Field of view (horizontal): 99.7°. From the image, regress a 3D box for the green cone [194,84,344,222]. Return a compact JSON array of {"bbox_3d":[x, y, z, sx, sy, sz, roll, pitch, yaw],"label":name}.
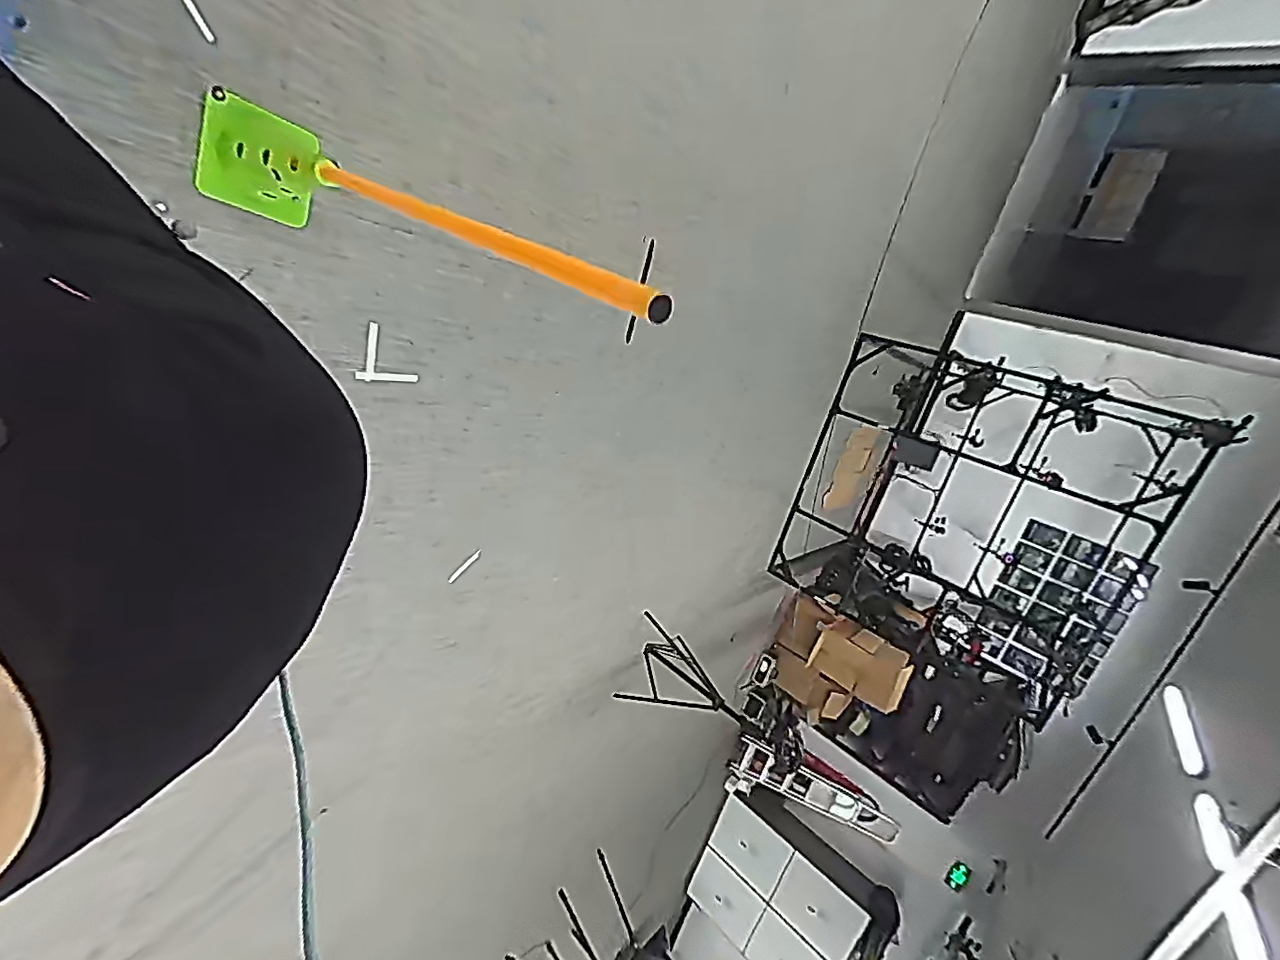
[{"bbox_3d":[-0.667,-0.599,1.027,0.202,0.368,0.200,0,113,-54],"label":"green cone"}]
